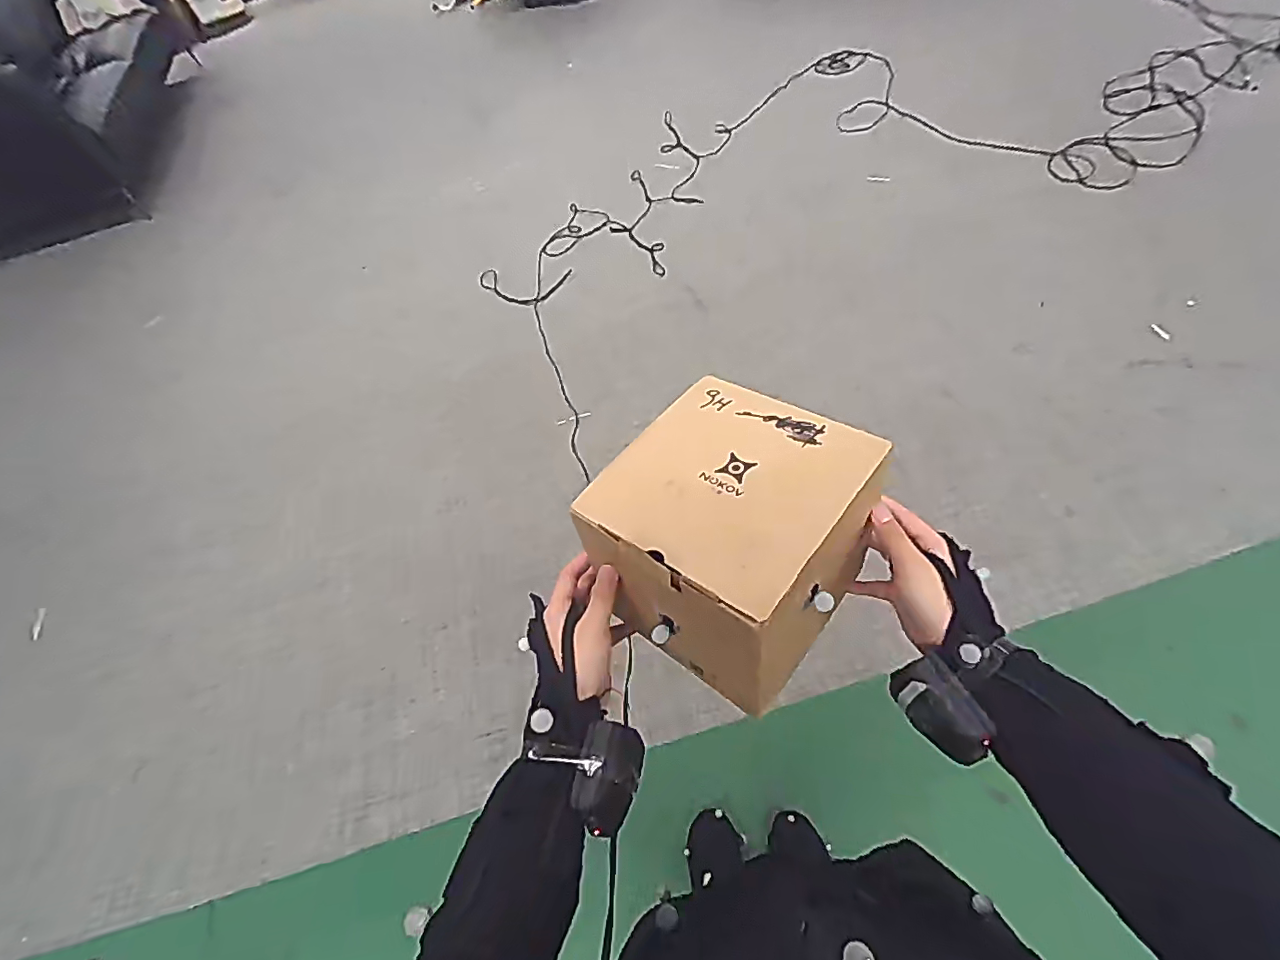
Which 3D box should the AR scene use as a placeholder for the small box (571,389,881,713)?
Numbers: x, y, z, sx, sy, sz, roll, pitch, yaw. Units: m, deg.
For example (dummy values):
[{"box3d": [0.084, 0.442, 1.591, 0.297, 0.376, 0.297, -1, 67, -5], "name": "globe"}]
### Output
[{"box3d": [0.076, 0.059, 0.455, 0.168, 0.176, 0.179, 28, 60, 32], "name": "small box"}]
